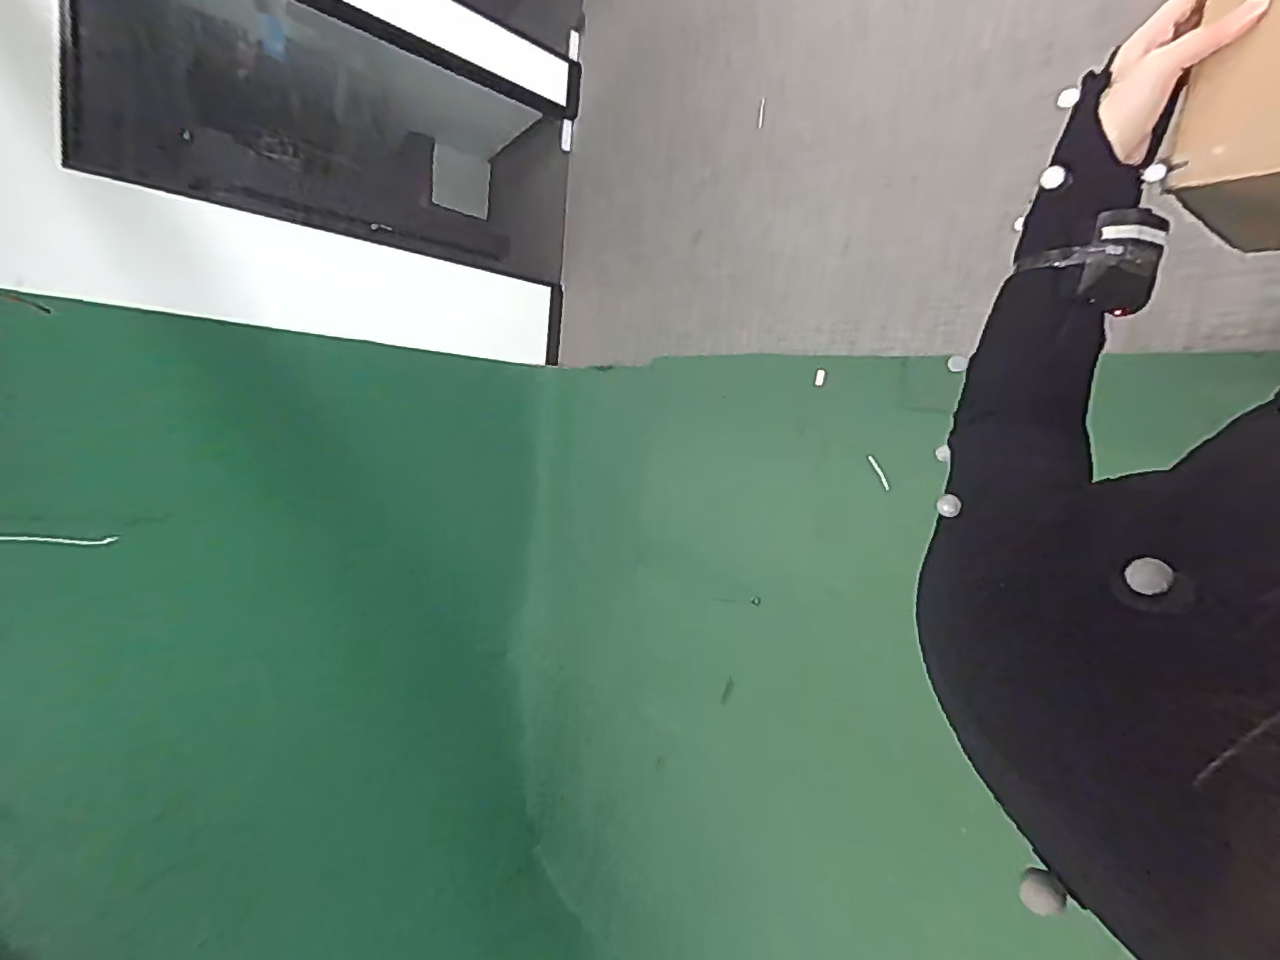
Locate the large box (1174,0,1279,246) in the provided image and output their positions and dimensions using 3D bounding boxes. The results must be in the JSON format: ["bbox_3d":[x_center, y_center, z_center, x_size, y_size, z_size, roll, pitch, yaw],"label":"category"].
[{"bbox_3d":[0.641,-0.340,0.298,0.408,0.320,0.320,19,110,54],"label":"large box"}]
